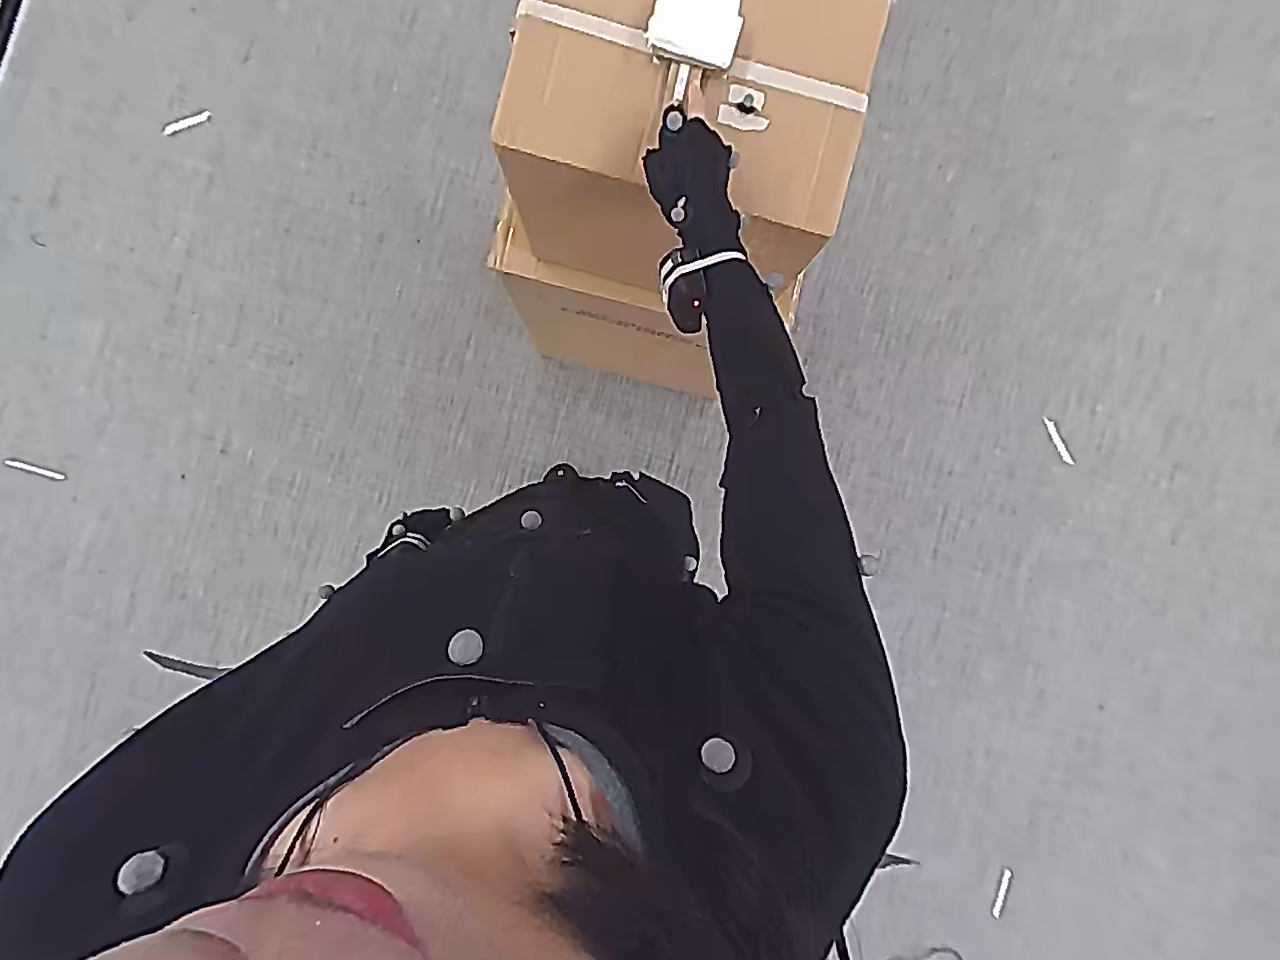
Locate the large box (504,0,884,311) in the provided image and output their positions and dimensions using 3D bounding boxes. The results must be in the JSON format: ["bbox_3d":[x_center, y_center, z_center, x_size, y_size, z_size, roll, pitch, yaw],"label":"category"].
[{"bbox_3d":[0.057,-0.483,0.780,0.408,0.320,0.320,14,89,-4],"label":"large box"}]
